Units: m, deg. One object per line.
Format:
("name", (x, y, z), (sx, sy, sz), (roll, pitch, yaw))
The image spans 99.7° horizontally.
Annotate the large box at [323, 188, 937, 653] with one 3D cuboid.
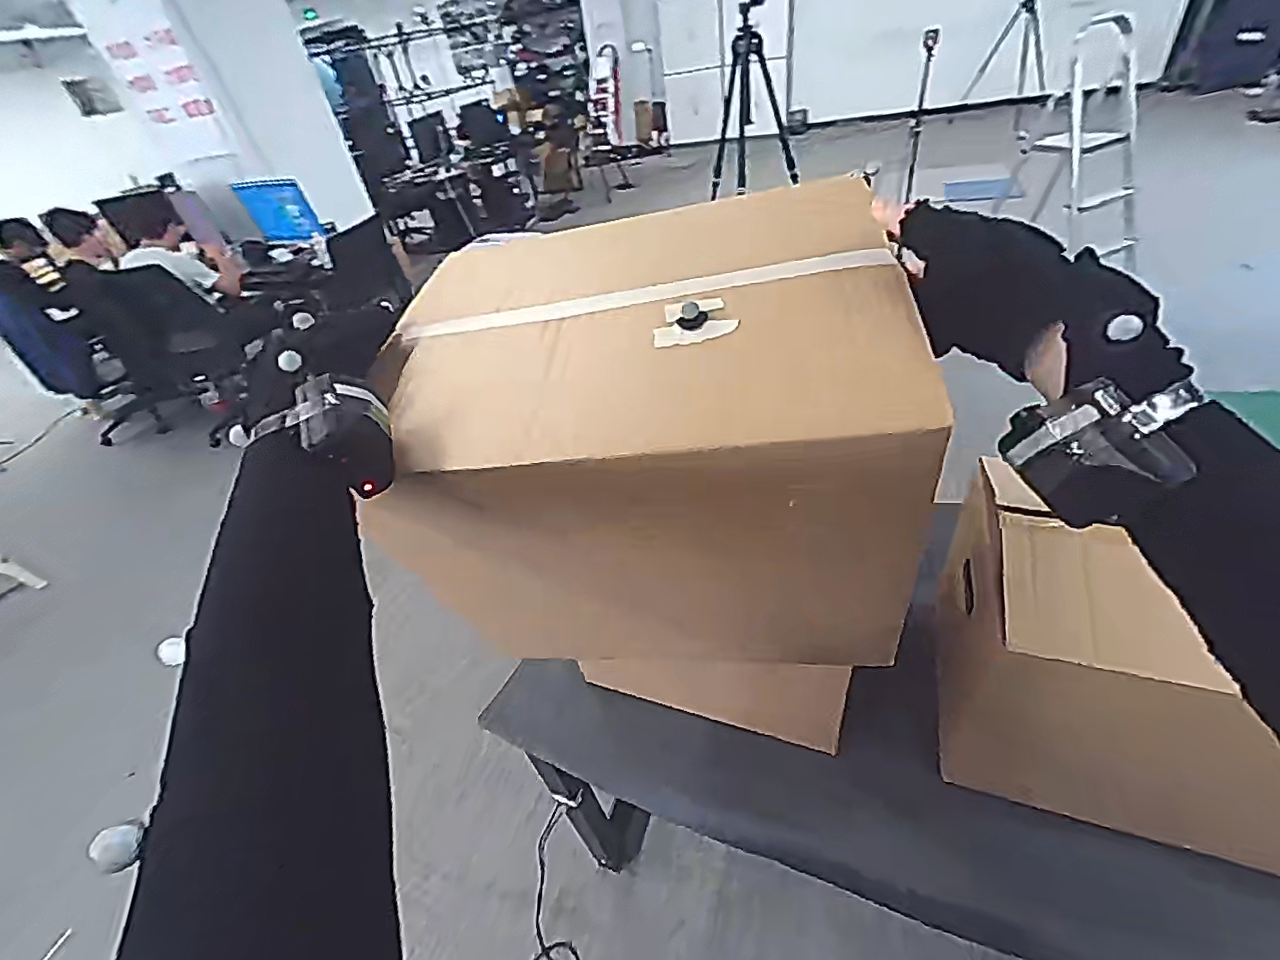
("large box", (0.014, -0.034, 0.537), (0.408, 0.320, 0.320), (-3, 51, 14))
